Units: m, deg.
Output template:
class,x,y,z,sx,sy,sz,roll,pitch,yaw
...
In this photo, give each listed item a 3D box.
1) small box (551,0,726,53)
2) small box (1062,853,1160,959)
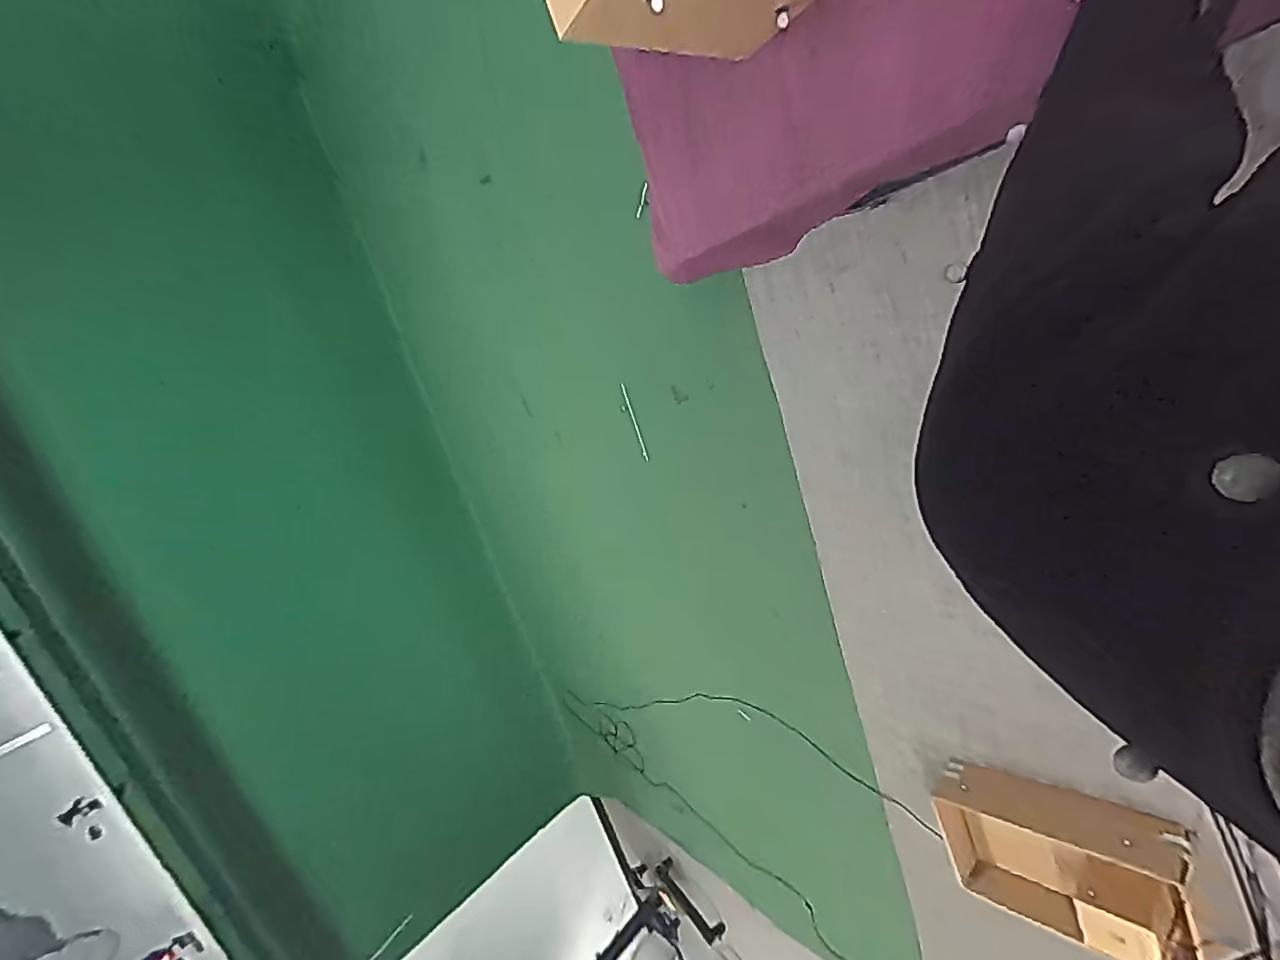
class,x,y,z,sx,sy,sz,roll,pitch,yaw
small box,0.005,-0.576,0.546,0.179,0.176,0.168,-4,110,52
small box,1.342,1.214,1.535,0.179,0.176,0.168,-8,105,54
